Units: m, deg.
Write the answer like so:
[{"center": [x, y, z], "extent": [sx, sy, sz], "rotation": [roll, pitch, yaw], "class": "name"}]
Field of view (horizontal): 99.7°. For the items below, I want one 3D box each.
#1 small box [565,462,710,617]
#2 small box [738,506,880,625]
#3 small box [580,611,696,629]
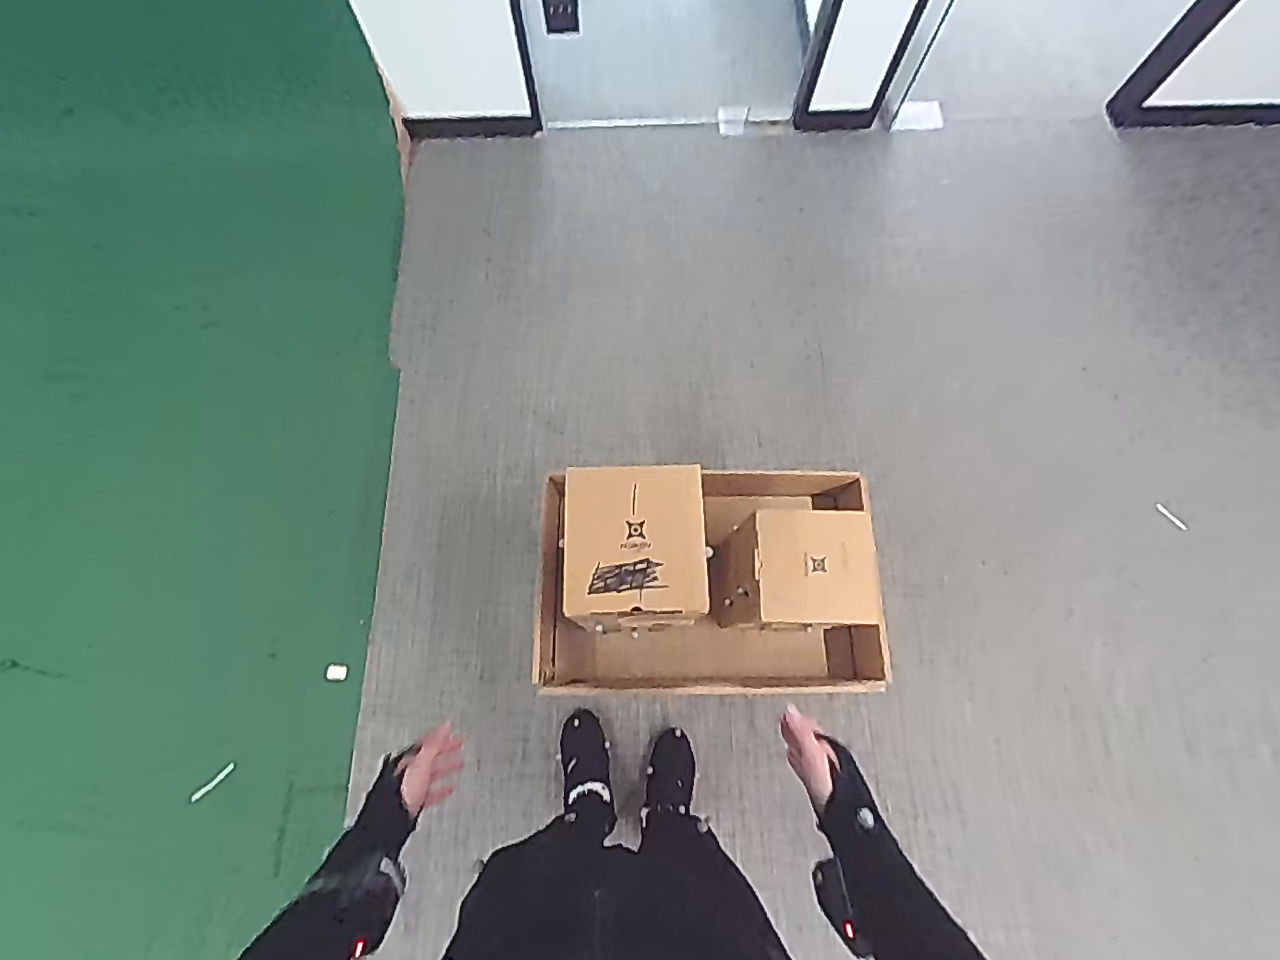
[{"center": [-0.004, 0.086, 0.699], "extent": [0.168, 0.176, 0.179], "rotation": [-1, 72, -2], "class": "small box"}, {"center": [0.255, 0.142, 0.862], "extent": [0.179, 0.176, 0.168], "rotation": [2, 75, -1], "class": "small box"}, {"center": [-0.004, 0.140, 0.854], "extent": [0.168, 0.176, 0.179], "rotation": [0, 73, -1], "class": "small box"}]
